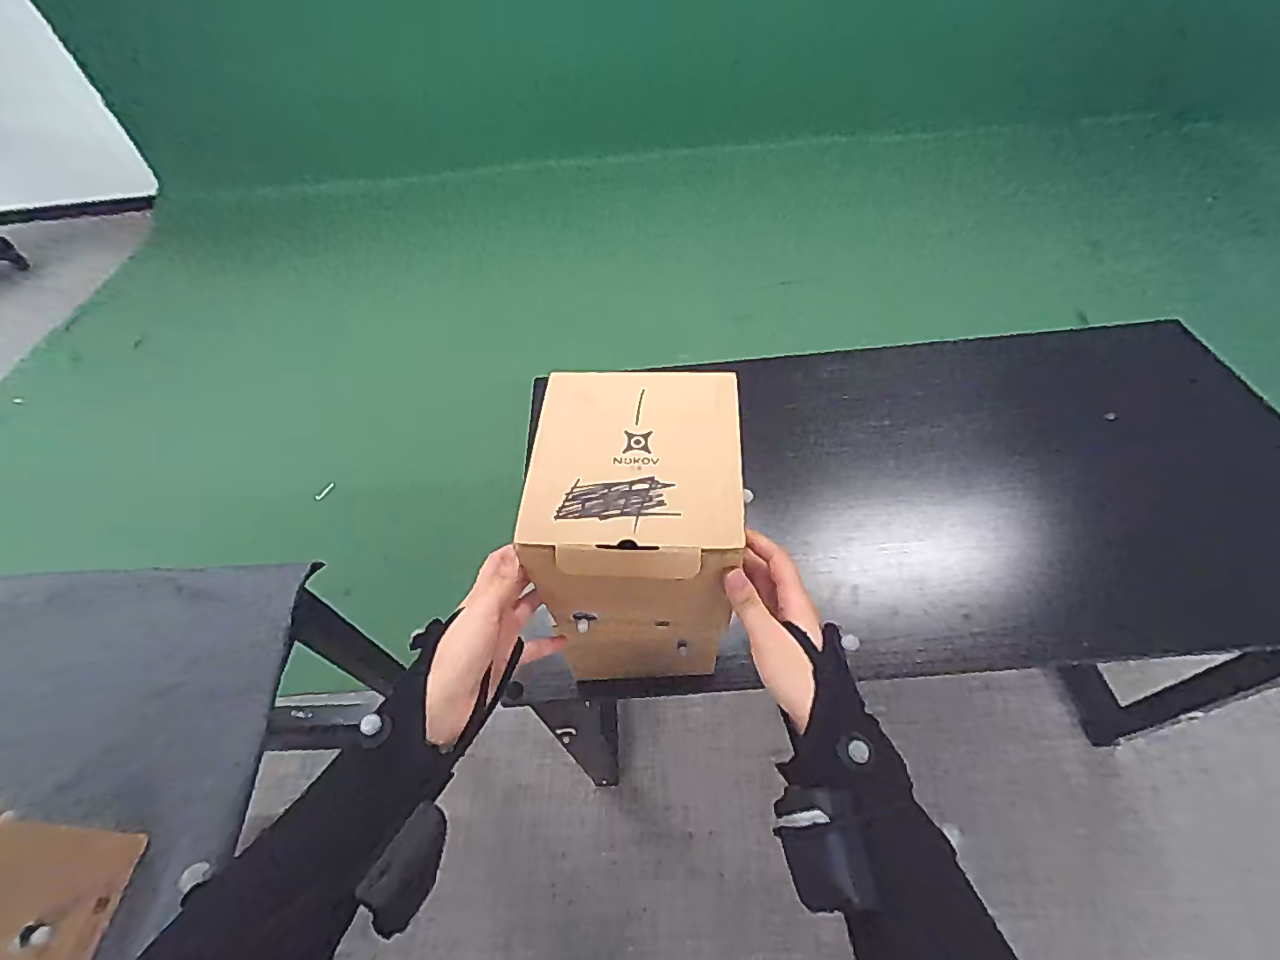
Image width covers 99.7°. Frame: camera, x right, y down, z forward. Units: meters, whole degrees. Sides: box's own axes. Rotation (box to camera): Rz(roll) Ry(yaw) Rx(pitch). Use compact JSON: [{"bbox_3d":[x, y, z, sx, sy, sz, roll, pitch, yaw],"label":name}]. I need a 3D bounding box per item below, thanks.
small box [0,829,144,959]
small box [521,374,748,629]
[{"bbox_3d":[-0.632,0.419,0.496,0.179,0.176,0.168,-3,53,5],"label":"small box"},{"bbox_3d":[0.006,0.025,0.490,0.168,0.176,0.179,1,55,5],"label":"small box"}]
